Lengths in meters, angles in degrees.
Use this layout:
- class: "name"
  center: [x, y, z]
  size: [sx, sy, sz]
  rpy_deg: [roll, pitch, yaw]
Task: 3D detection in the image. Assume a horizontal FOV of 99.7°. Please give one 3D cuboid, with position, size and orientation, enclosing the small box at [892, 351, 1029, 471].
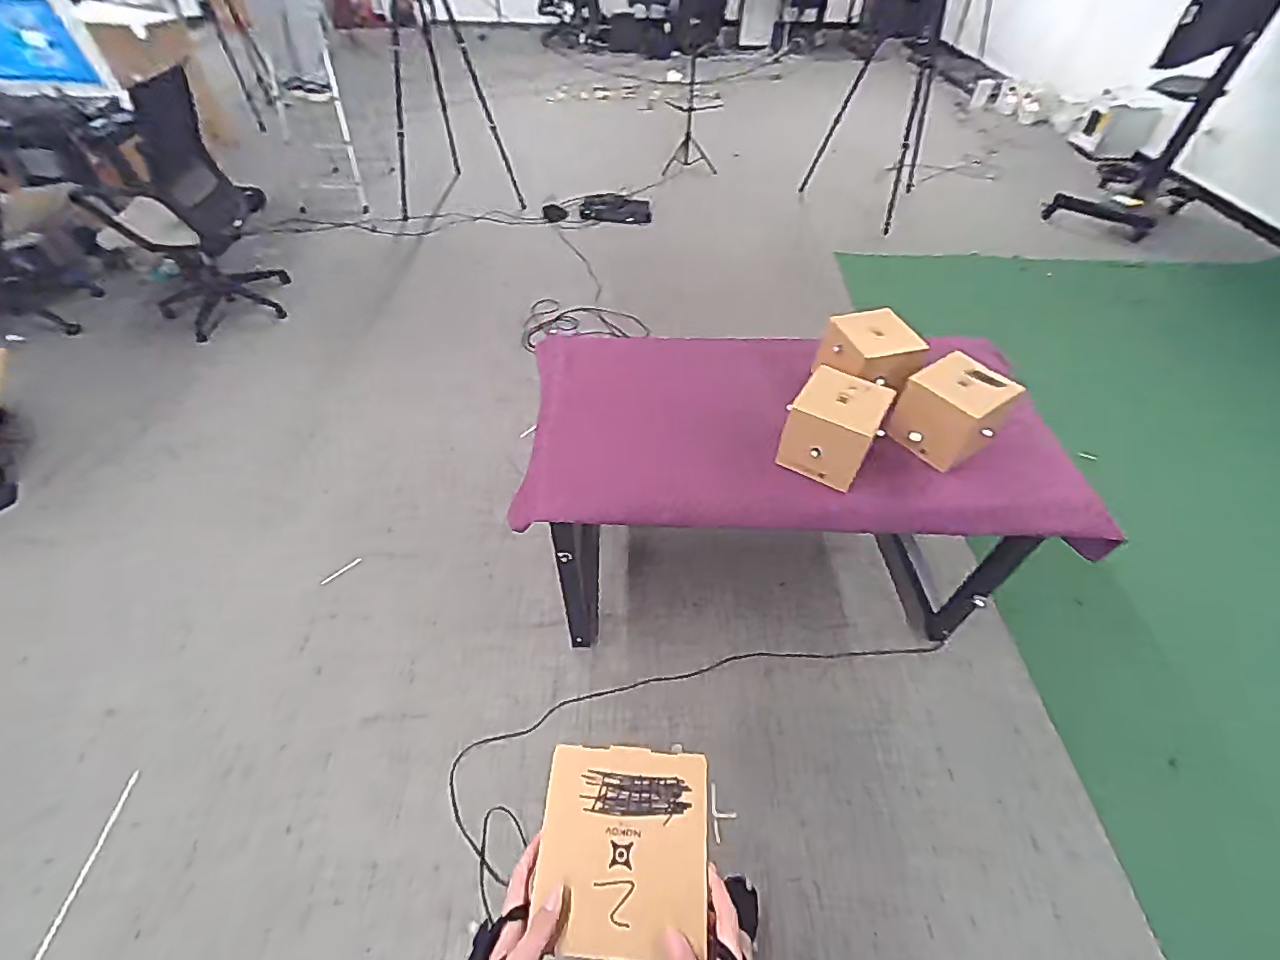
- class: "small box"
  center: [0.700, -0.152, 1.204]
  size: [0.179, 0.176, 0.168]
  rpy_deg: [-28, 54, -21]

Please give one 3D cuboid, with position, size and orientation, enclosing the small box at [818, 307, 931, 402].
- class: "small box"
  center: [0.565, -0.295, 1.329]
  size: [0.168, 0.176, 0.179]
  rpy_deg: [-12, 50, -10]

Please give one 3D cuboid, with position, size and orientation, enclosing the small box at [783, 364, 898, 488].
- class: "small box"
  center: [0.421, -0.114, 1.161]
  size: [0.168, 0.176, 0.179]
  rpy_deg: [27, 53, 20]
